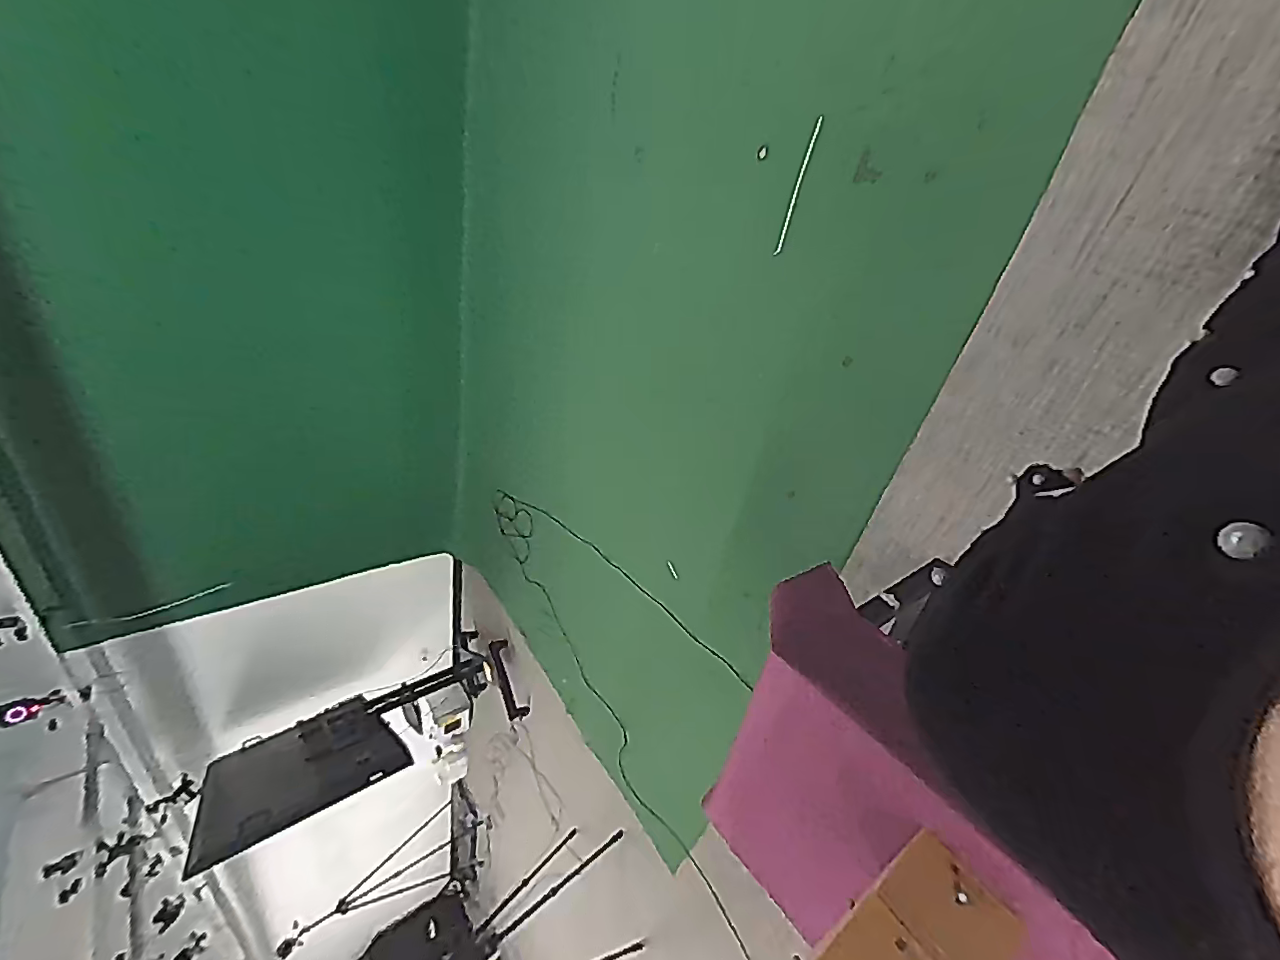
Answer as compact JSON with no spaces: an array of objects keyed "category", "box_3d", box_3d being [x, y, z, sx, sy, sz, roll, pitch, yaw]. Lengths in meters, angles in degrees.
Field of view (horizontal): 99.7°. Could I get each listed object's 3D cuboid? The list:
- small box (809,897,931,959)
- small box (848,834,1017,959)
[{"category":"small box","box_3d":[0.313,0.740,0.749,0.168,0.176,0.179,41,130,38]},{"category":"small box","box_3d":[0.442,0.709,0.844,0.168,0.176,0.179,41,131,37]}]
